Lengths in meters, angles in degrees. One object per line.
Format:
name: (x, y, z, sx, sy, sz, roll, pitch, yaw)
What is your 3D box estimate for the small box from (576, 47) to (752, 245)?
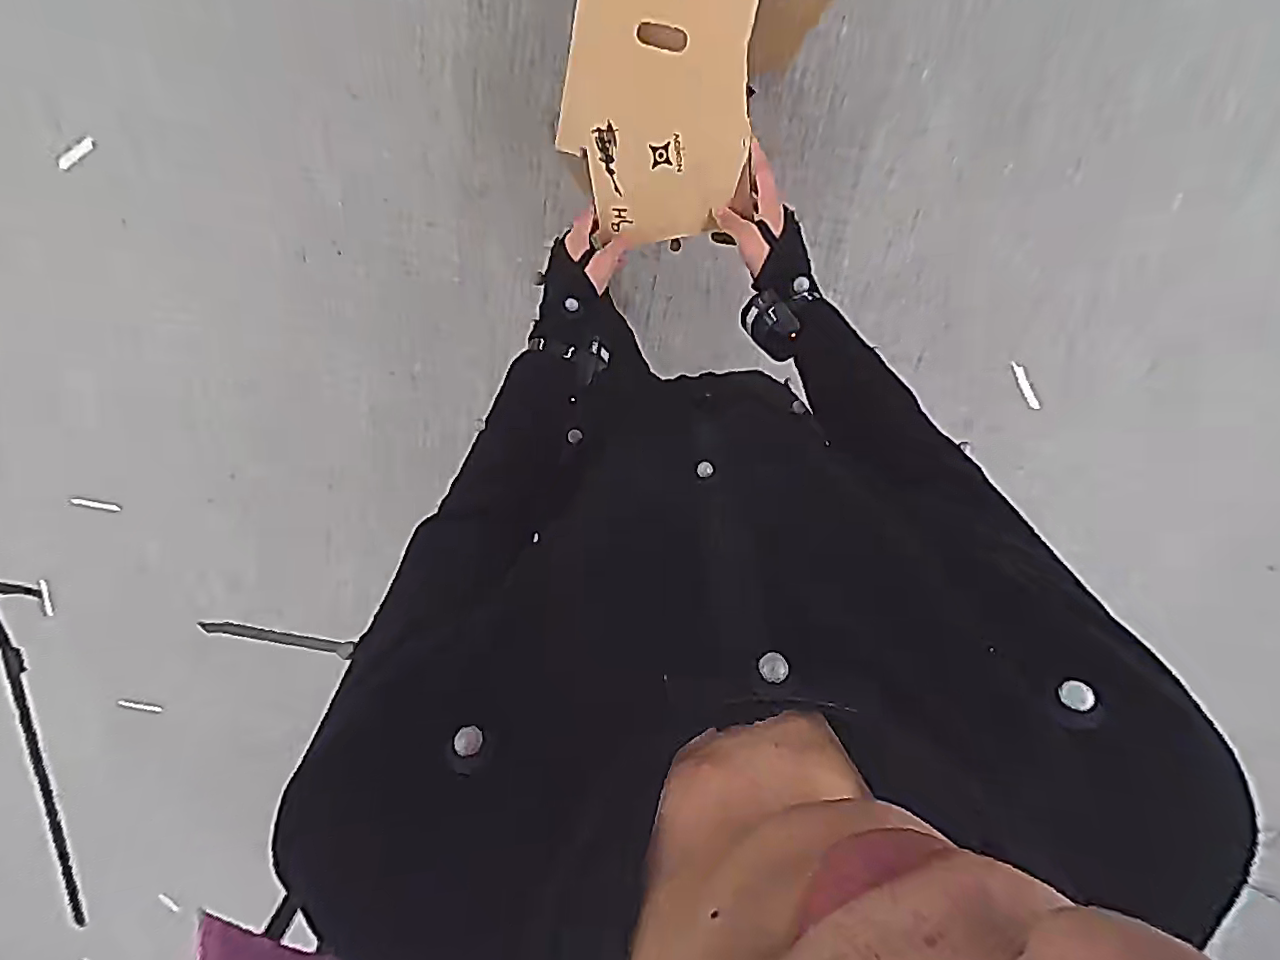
small box: (0.030, -0.381, 0.643, 0.179, 0.176, 0.168, -6, 115, 4)
